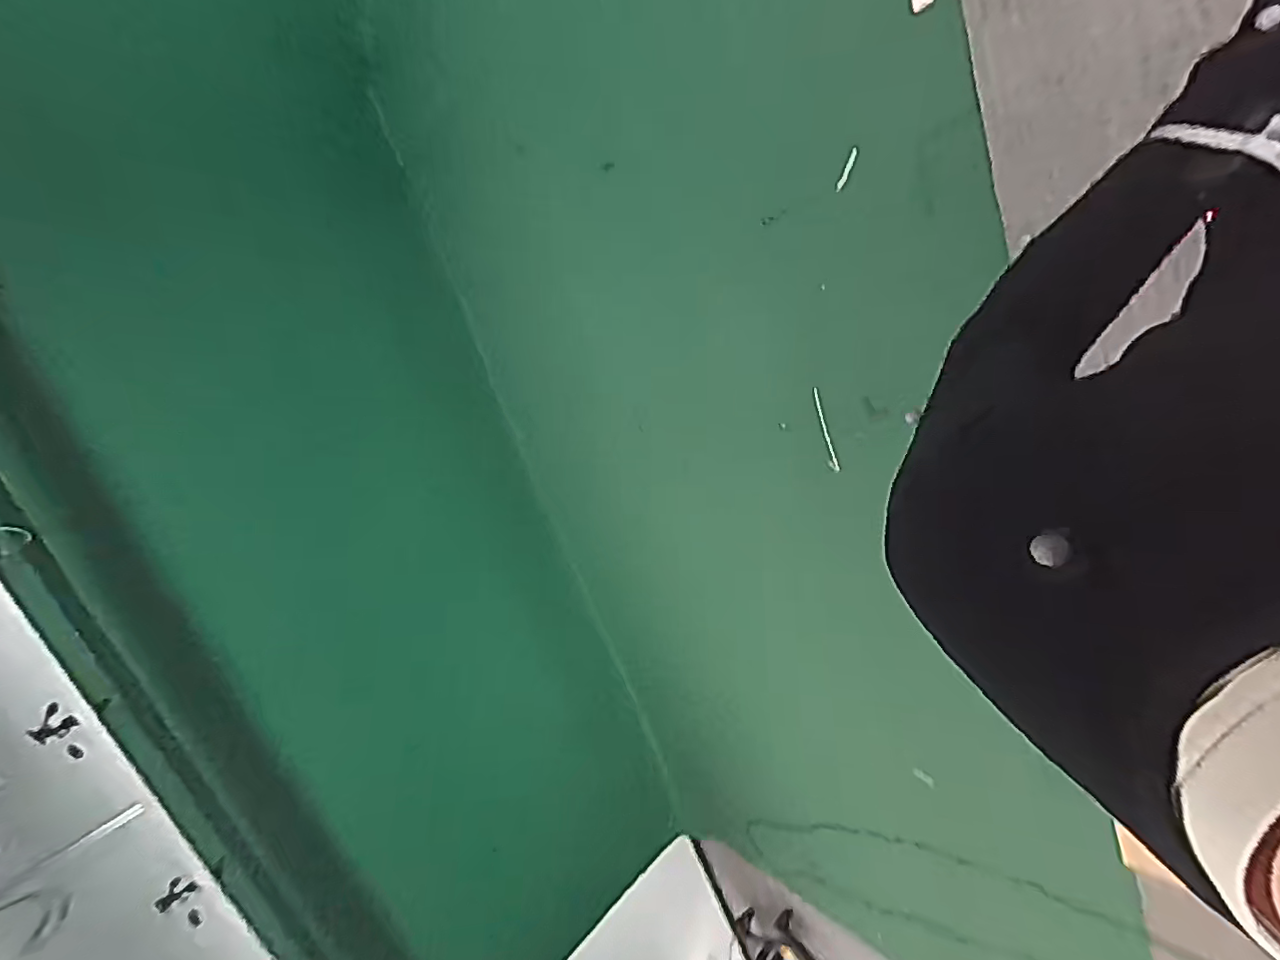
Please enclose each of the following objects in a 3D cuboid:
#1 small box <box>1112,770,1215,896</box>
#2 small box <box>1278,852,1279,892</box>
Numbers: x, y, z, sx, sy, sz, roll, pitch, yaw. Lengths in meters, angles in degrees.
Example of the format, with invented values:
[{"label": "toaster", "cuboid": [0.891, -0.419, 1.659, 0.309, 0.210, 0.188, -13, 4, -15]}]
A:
[{"label": "small box", "cuboid": [1.354, 0.901, 1.397, 0.168, 0.176, 0.179, -4, 111, 52]}, {"label": "small box", "cuboid": [1.525, 0.888, 1.175, 0.168, 0.176, 0.179, -2, 112, 53]}]
